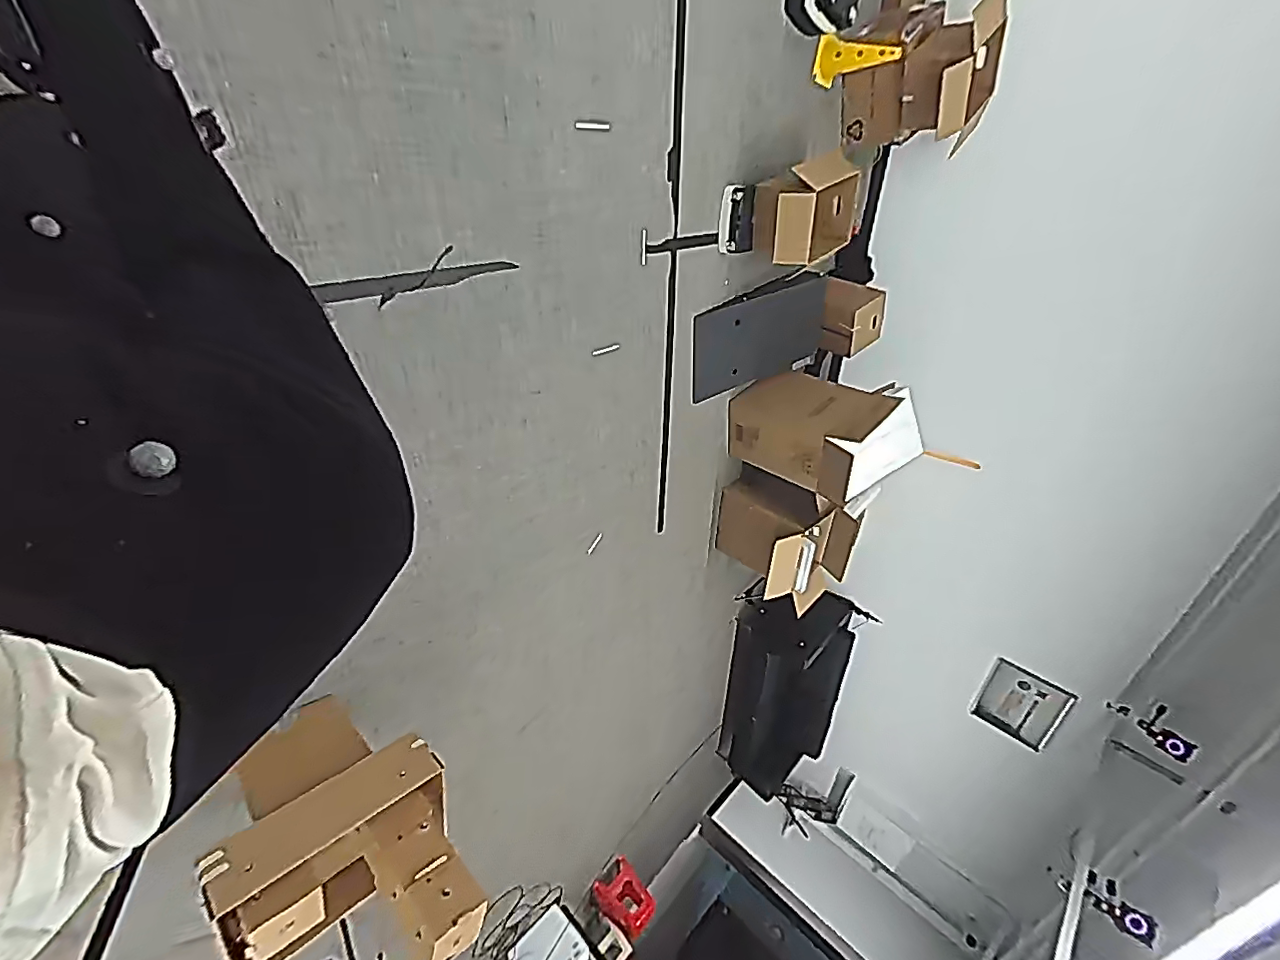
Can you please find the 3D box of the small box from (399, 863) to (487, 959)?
[{"bbox_3d":[-0.562,1.236,1.532,0.168,0.176,0.179,-5,117,-50],"label":"small box"}]

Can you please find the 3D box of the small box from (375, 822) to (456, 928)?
[{"bbox_3d":[-0.680,1.176,1.629,0.168,0.176,0.179,-11,122,-48],"label":"small box"}]
